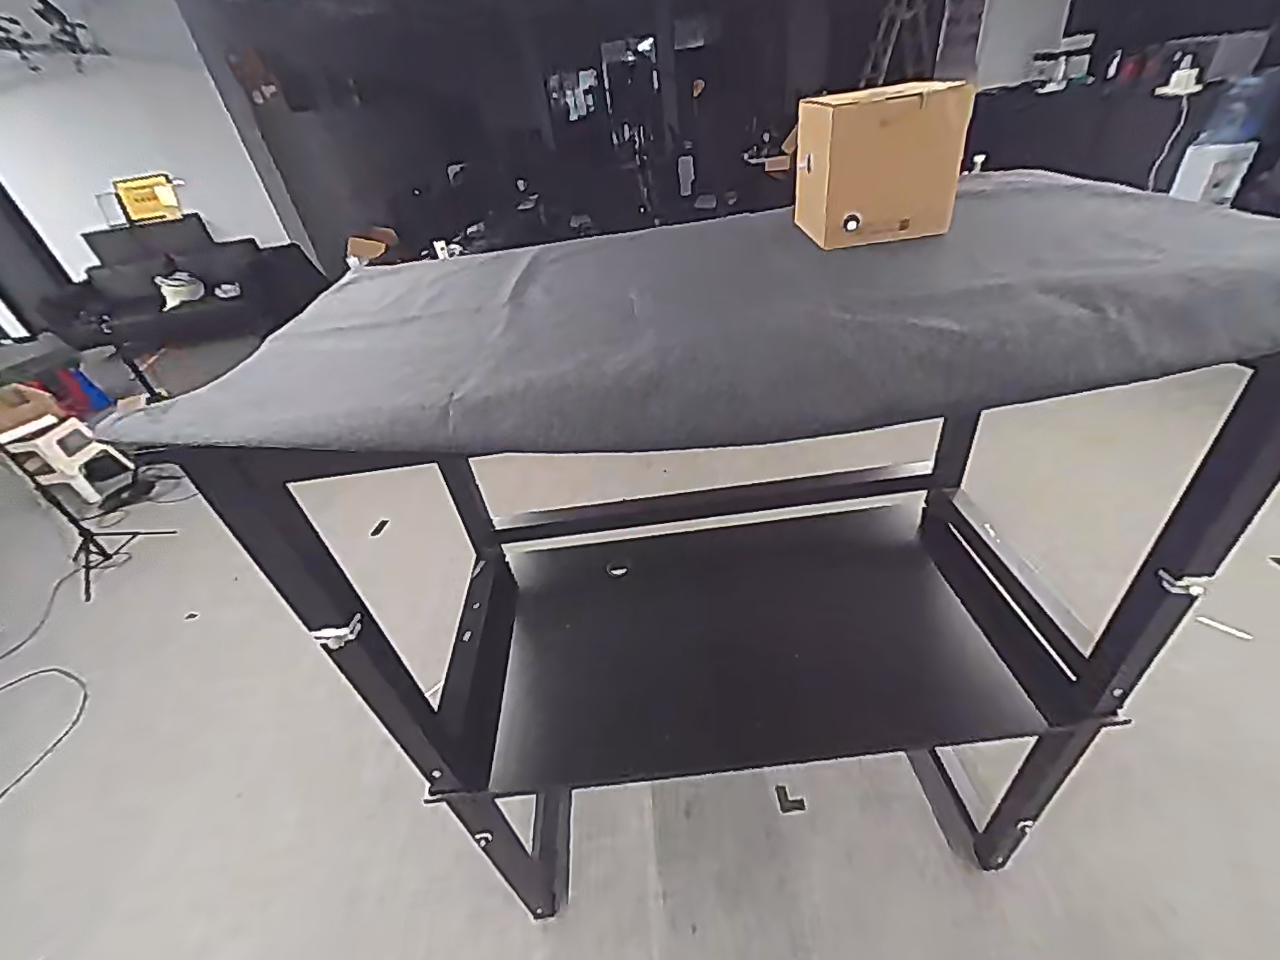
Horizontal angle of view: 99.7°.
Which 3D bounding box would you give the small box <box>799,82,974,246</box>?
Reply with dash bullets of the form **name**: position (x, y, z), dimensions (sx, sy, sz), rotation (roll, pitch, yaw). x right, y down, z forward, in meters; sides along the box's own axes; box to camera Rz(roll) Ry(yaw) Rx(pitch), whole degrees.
- **small box**: position (0.323, -0.434, 0.750), dimensions (0.168, 0.176, 0.179), rotation (-5, 36, 4)
